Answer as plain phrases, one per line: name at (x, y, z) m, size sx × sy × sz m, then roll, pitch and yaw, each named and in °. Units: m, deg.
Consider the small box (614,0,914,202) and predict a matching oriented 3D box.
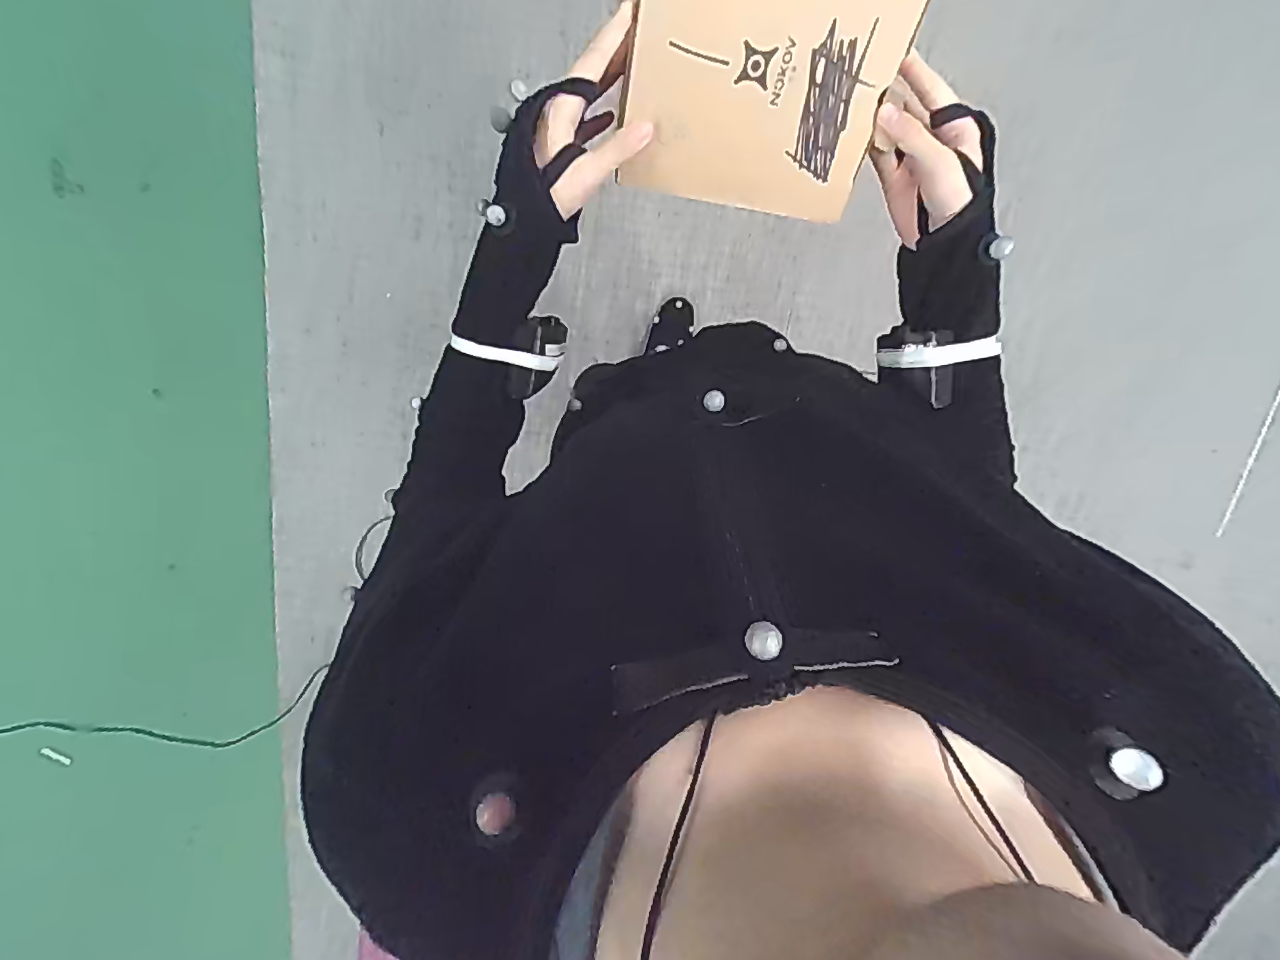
small box at (0.077, -0.337, 0.409) m, size 0.179 × 0.176 × 0.168 m, roll 6°, pitch 133°, yaw -8°
